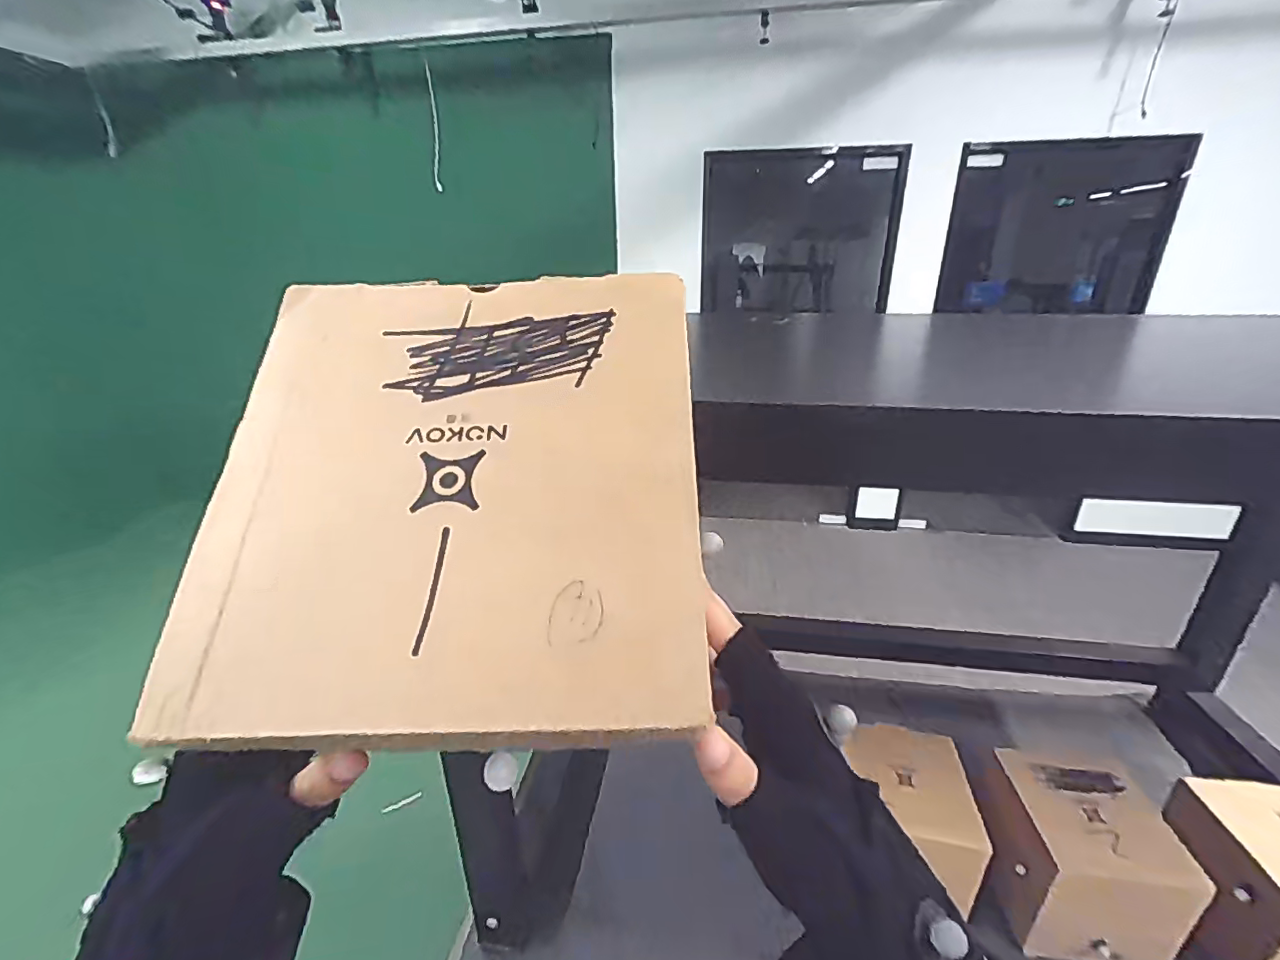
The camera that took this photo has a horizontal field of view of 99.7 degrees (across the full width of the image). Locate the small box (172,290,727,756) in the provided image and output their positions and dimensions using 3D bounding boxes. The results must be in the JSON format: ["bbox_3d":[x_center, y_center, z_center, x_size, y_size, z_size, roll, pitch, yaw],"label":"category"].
[{"bbox_3d":[-0.053,0.035,0.264,0.168,0.176,0.179,-2,64,2],"label":"small box"}]

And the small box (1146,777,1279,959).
[{"bbox_3d":[0.803,0.513,0.676,0.168,0.176,0.179,3,22,7],"label":"small box"}]

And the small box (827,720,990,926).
[{"bbox_3d":[0.367,0.484,0.774,0.168,0.176,0.179,4,22,12],"label":"small box"}]
